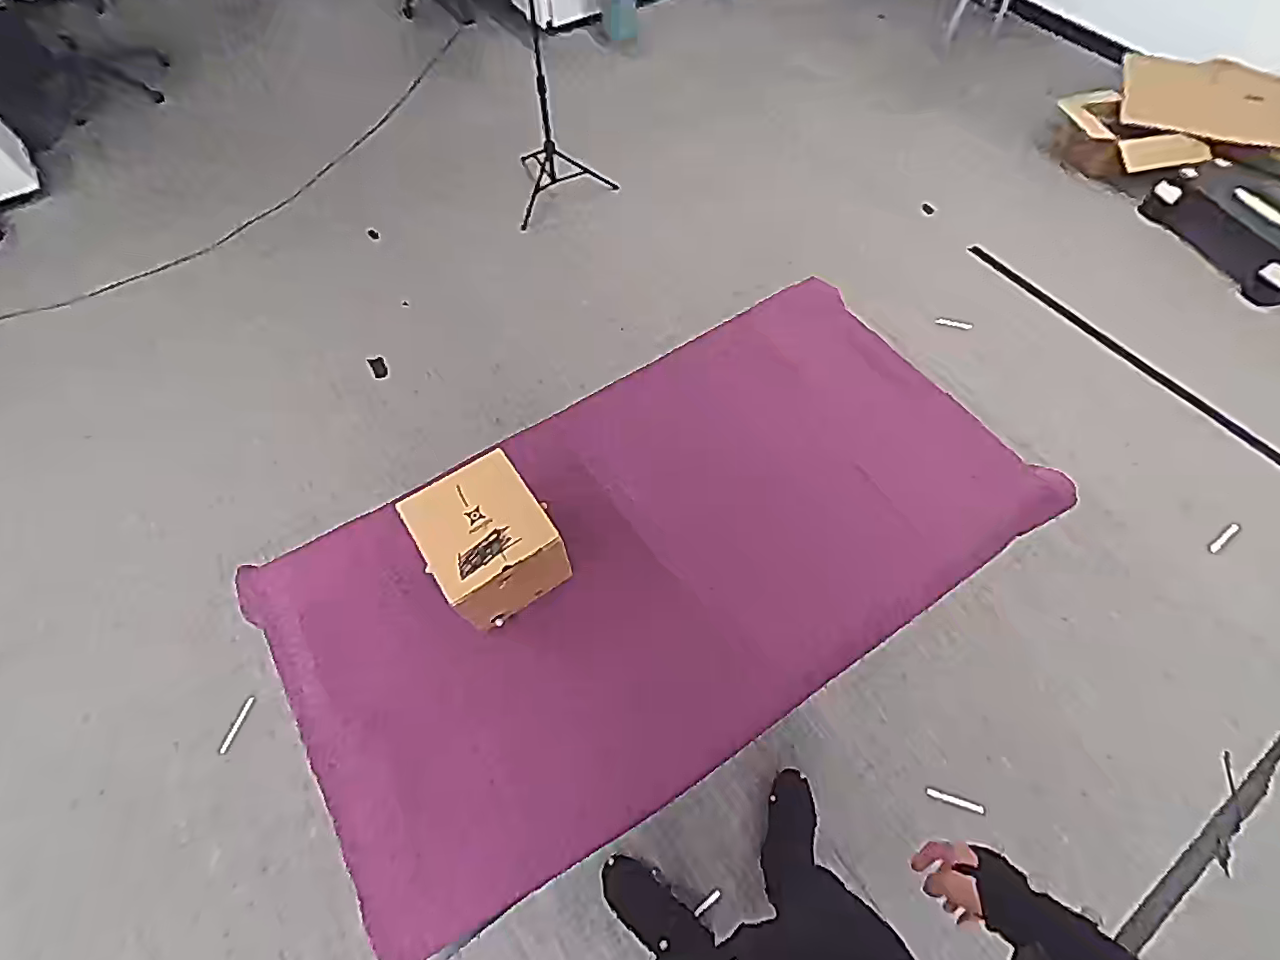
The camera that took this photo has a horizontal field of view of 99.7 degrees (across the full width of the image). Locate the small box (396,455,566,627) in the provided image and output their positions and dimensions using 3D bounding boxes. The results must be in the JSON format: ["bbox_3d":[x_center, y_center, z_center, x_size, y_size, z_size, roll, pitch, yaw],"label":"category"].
[{"bbox_3d":[-0.226,0.102,0.811,0.168,0.176,0.179,-32,67,-17],"label":"small box"}]
